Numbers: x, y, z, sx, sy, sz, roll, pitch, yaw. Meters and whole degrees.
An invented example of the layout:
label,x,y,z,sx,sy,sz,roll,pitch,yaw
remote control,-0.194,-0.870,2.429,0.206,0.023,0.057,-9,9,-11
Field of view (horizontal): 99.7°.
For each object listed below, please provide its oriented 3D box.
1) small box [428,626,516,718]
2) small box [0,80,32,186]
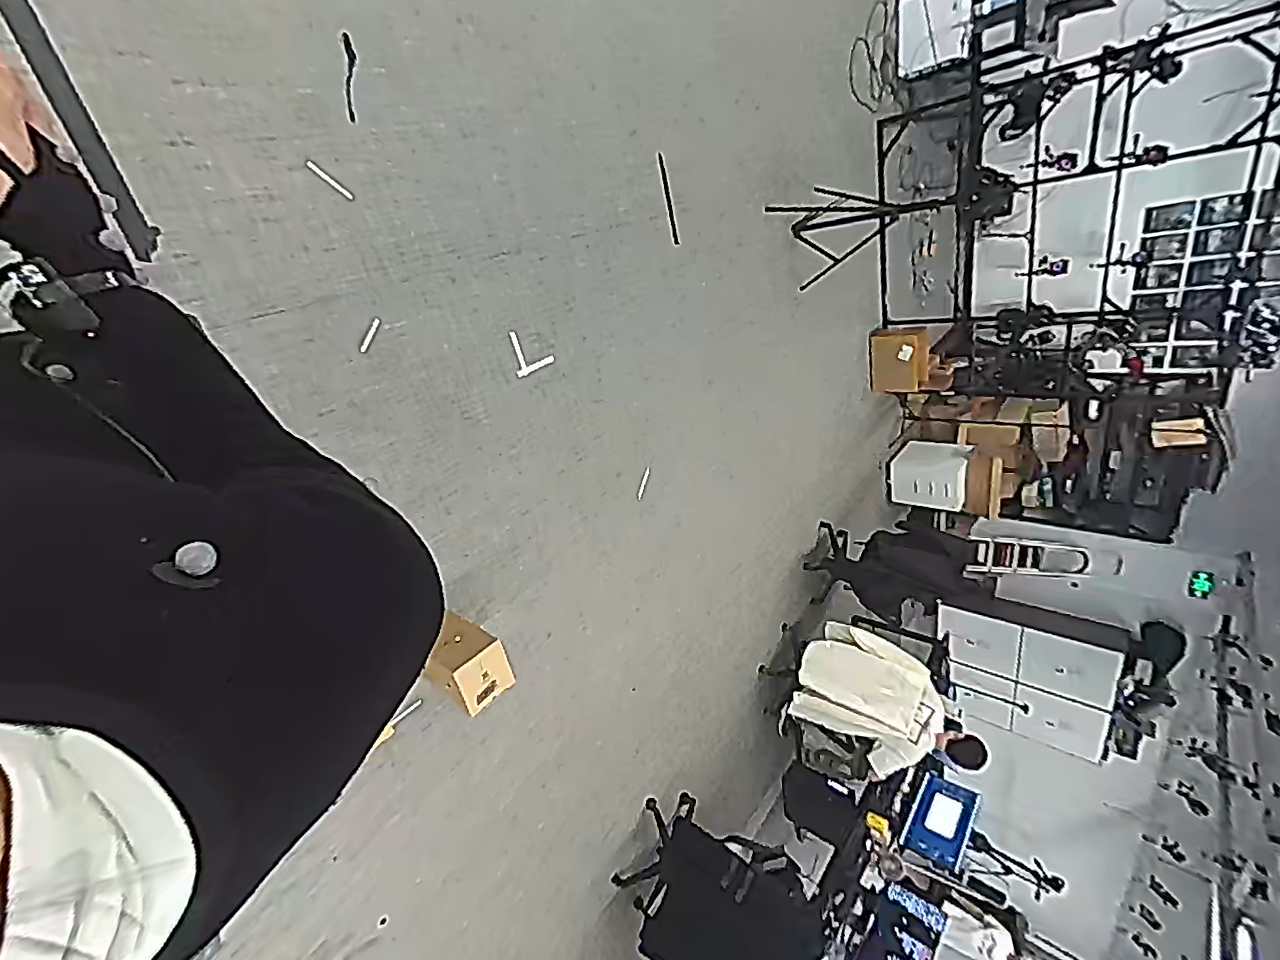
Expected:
label,x,y,z,sx,sy,sz,roll,pitch,yaw
small box,-0.515,0.579,1.657,0.168,0.176,0.179,-34,120,-39
small box,-0.602,-0.304,0.383,0.179,0.176,0.168,-28,125,-52
